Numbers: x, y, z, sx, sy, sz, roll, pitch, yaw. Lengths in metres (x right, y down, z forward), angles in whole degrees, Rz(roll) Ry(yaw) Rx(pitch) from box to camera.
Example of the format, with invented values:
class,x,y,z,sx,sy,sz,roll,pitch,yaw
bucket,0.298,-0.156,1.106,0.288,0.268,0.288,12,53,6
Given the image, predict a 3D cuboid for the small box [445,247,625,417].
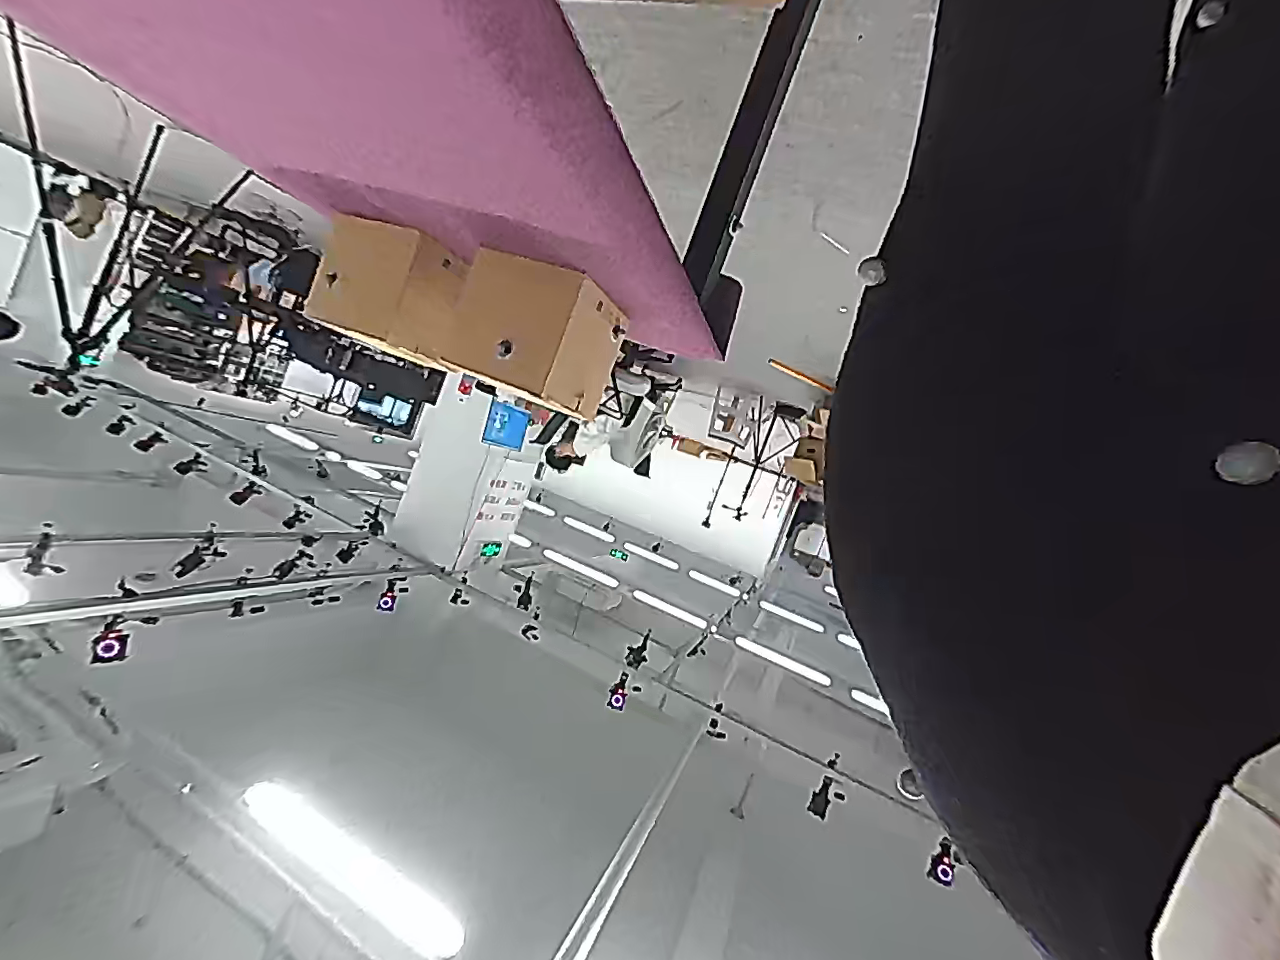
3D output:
class,x,y,z,sx,sy,sz,roll,pitch,yaw
small box,-0.138,-0.209,0.777,0.179,0.176,0.168,23,-178,20
